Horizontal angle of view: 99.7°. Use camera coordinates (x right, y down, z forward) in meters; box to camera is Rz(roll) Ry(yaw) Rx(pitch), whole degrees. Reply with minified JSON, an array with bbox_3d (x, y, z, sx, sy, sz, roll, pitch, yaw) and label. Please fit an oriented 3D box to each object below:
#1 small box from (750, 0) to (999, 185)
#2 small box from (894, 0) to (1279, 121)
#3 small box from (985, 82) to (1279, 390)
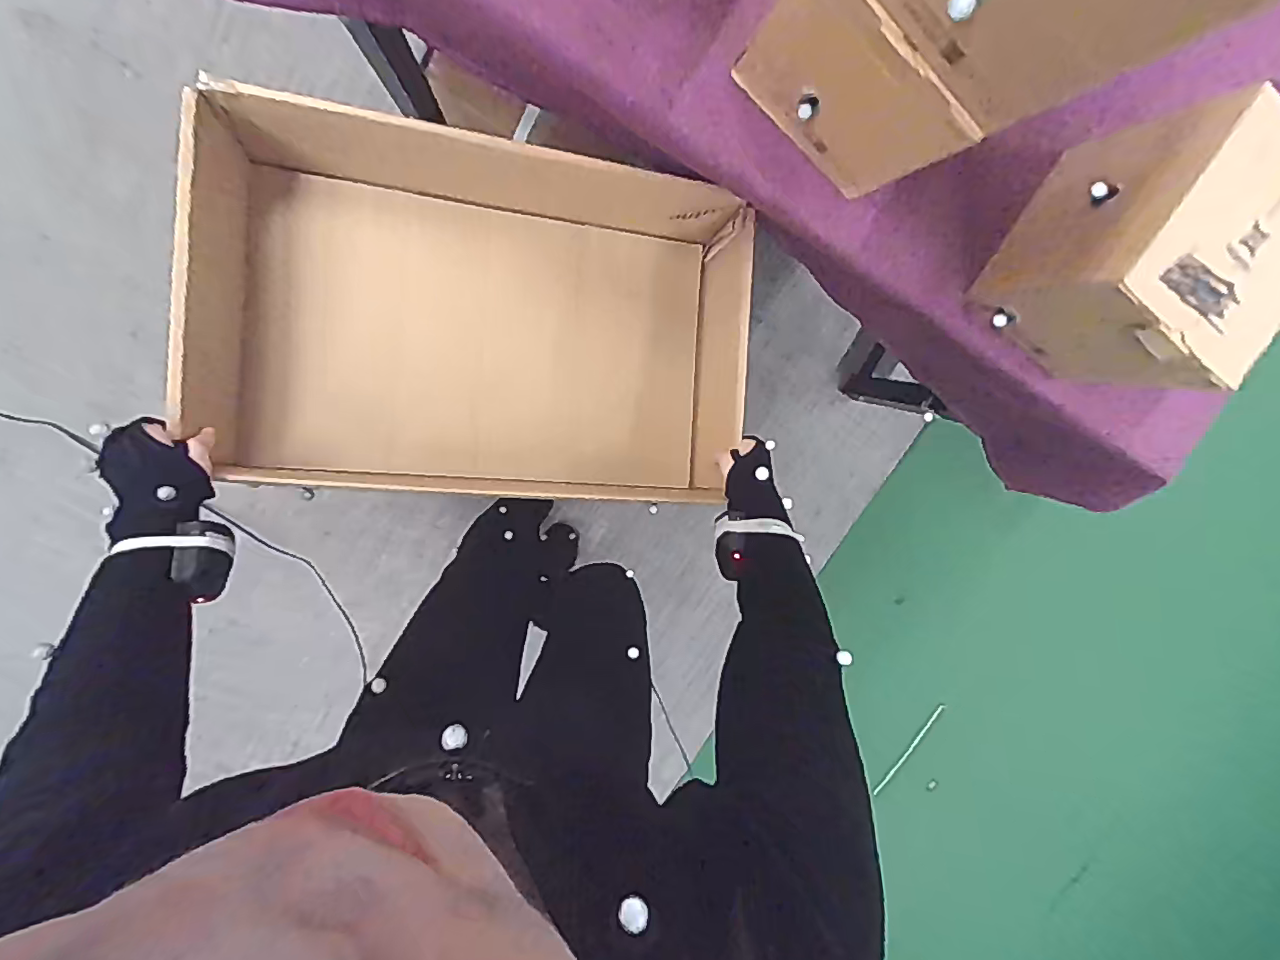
[{"bbox_3d":[0.216,-0.372,0.421,0.168,0.176,0.179,35,98,-17],"label":"small box"},{"bbox_3d":[0.249,-0.332,0.265,0.168,0.176,0.179,37,97,-17],"label":"small box"},{"bbox_3d":[0.476,-0.209,0.514,0.168,0.176,0.179,31,98,-17],"label":"small box"}]
